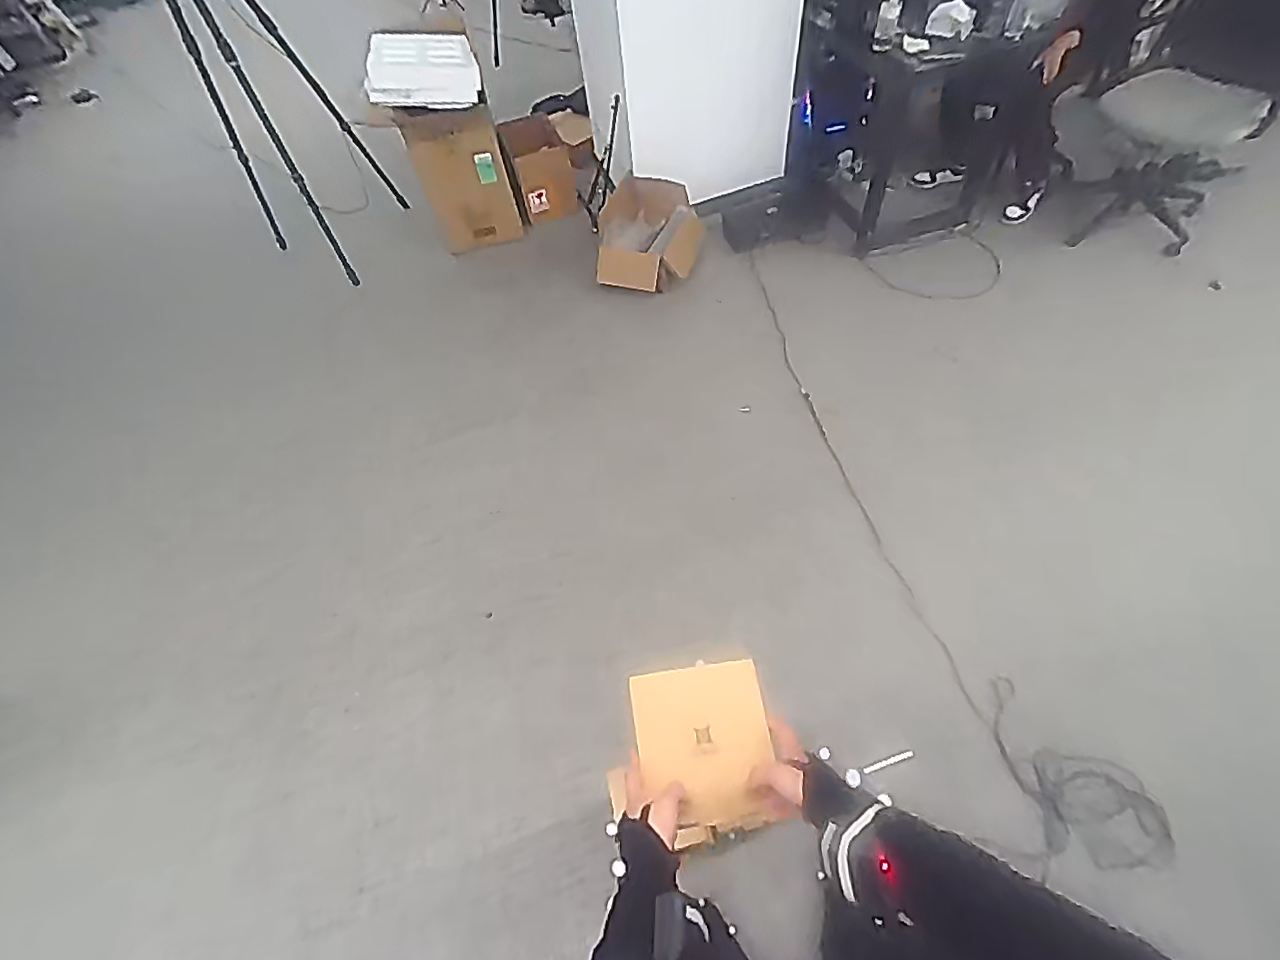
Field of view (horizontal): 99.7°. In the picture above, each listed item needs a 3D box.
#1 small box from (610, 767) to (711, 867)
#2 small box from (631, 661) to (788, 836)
[{"bbox_3d":[0.045,0.704,1.153,0.179,0.176,0.168,-15,55,-2],"label":"small box"},{"bbox_3d":[0.079,0.356,0.730,0.168,0.176,0.179,-7,65,-4],"label":"small box"}]
